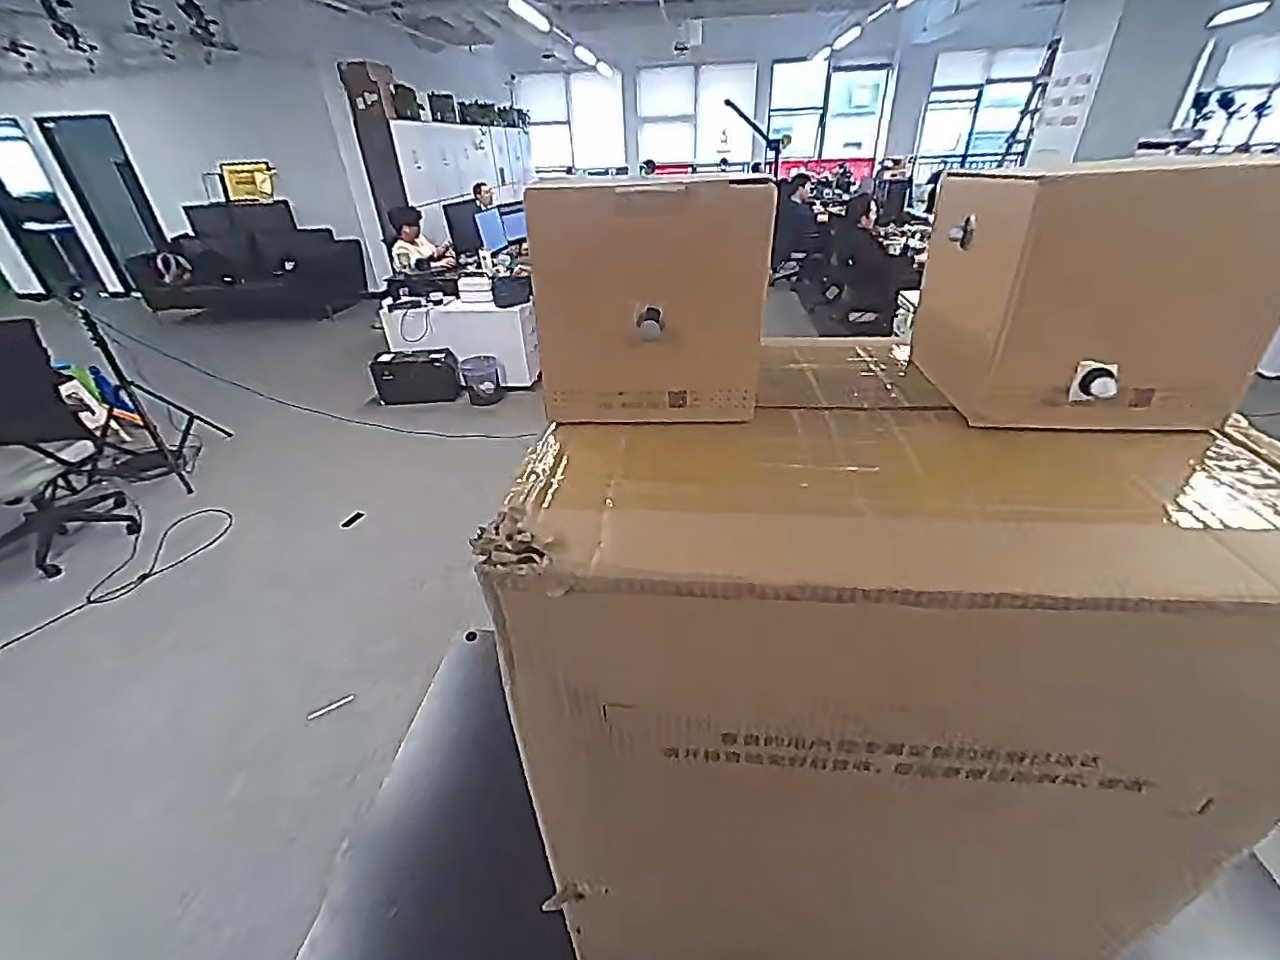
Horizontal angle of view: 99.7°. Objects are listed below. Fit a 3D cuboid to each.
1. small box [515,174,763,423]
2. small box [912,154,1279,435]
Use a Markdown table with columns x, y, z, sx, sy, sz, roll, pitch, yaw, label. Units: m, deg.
| x | y | z | sx | sy | sz | roll | pitch | yaw | label |
| --- | --- | --- | --- | --- | --- | --- | --- | --- | --- |
| 0.005 | -0.155 | 0.458 | 0.168 | 0.176 | 0.179 | -1 | 31 | 2 | small box |
| 0.330 | -0.146 | 0.418 | 0.168 | 0.176 | 0.179 | -1 | 31 | 9 | small box |
